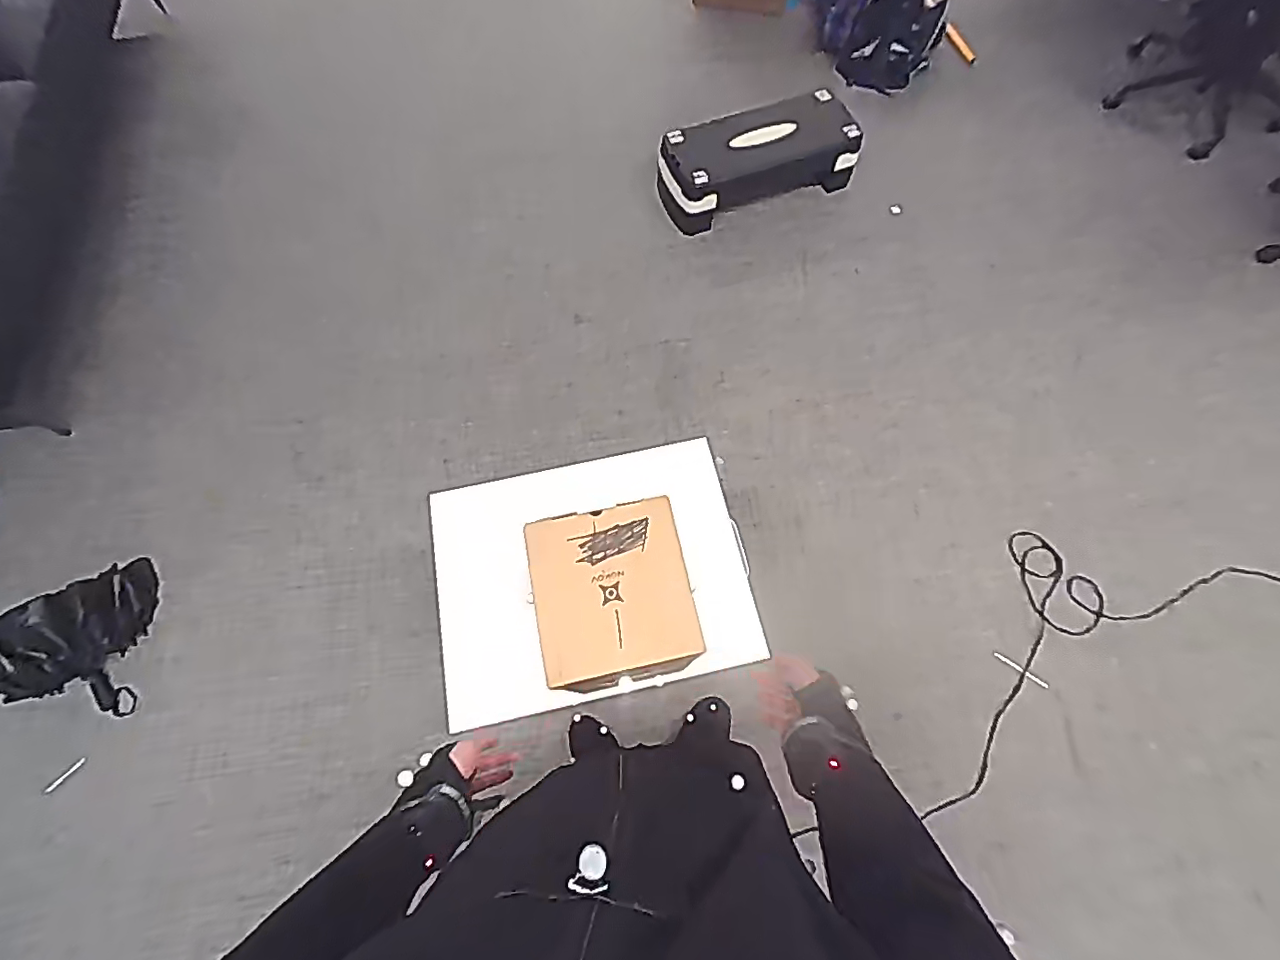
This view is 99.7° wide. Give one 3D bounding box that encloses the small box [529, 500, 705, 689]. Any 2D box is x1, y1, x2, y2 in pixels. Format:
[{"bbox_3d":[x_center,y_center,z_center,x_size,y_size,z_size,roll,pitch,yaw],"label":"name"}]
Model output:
[{"bbox_3d":[-0.030,0.144,0.649,0.168,0.176,0.179,-11,69,-4],"label":"small box"}]
